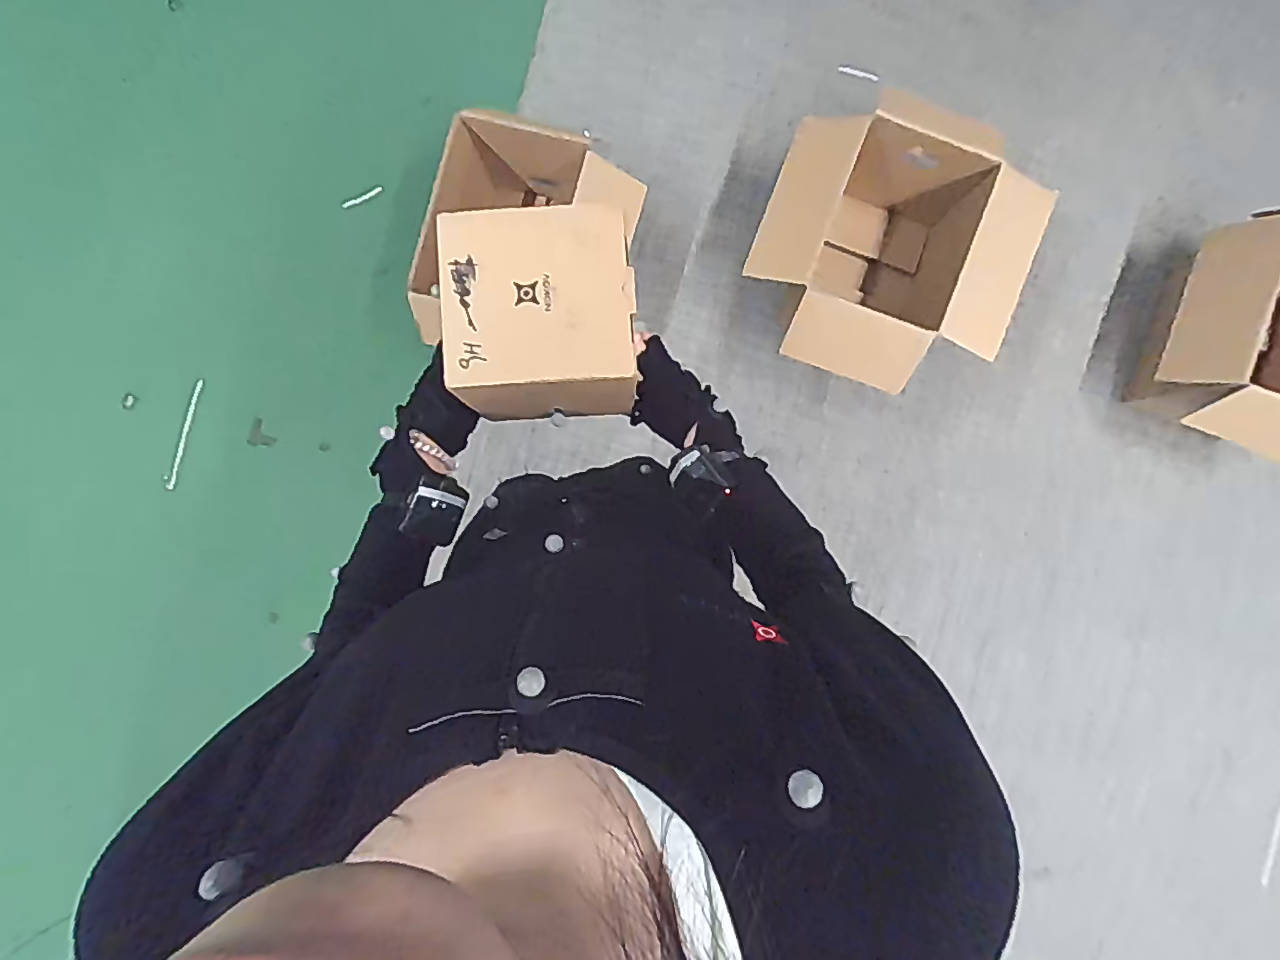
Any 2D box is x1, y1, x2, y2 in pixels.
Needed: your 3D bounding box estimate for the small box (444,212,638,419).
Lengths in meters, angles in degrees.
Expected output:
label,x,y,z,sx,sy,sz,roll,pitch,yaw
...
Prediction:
label,x,y,z,sx,sy,sz,roll,pitch,yaw
small box,-0.098,-0.162,0.580,0.179,0.176,0.168,-3,85,-4
